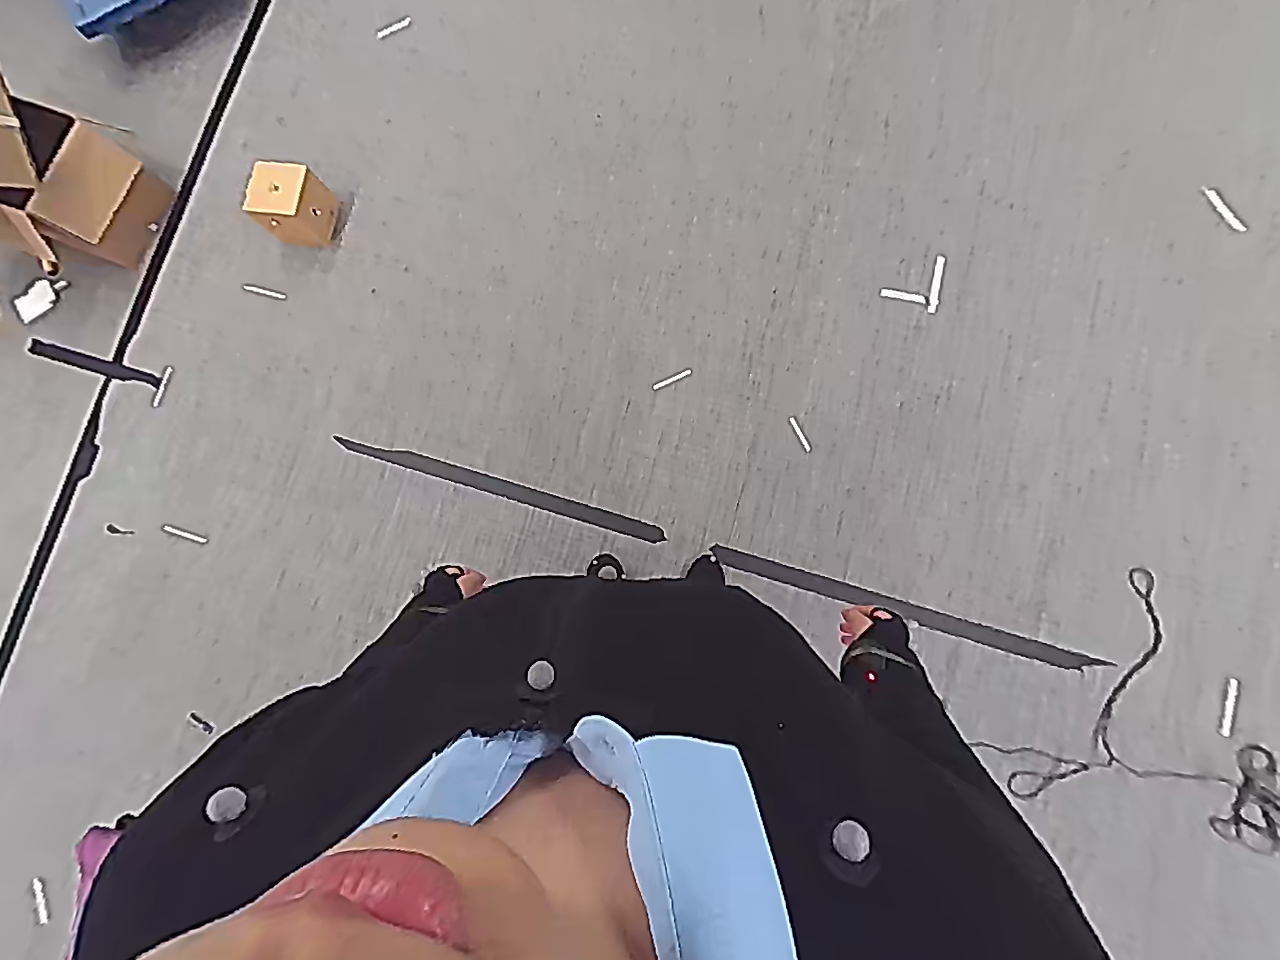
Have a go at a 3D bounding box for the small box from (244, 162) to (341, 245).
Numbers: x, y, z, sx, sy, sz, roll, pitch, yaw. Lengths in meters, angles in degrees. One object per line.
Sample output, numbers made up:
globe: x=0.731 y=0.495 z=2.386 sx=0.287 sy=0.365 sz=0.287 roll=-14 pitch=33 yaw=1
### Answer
small box: x=-1.077 y=-0.858 z=1.690 sx=0.179 sy=0.176 sz=0.168 roll=8 pitch=83 yaw=7
